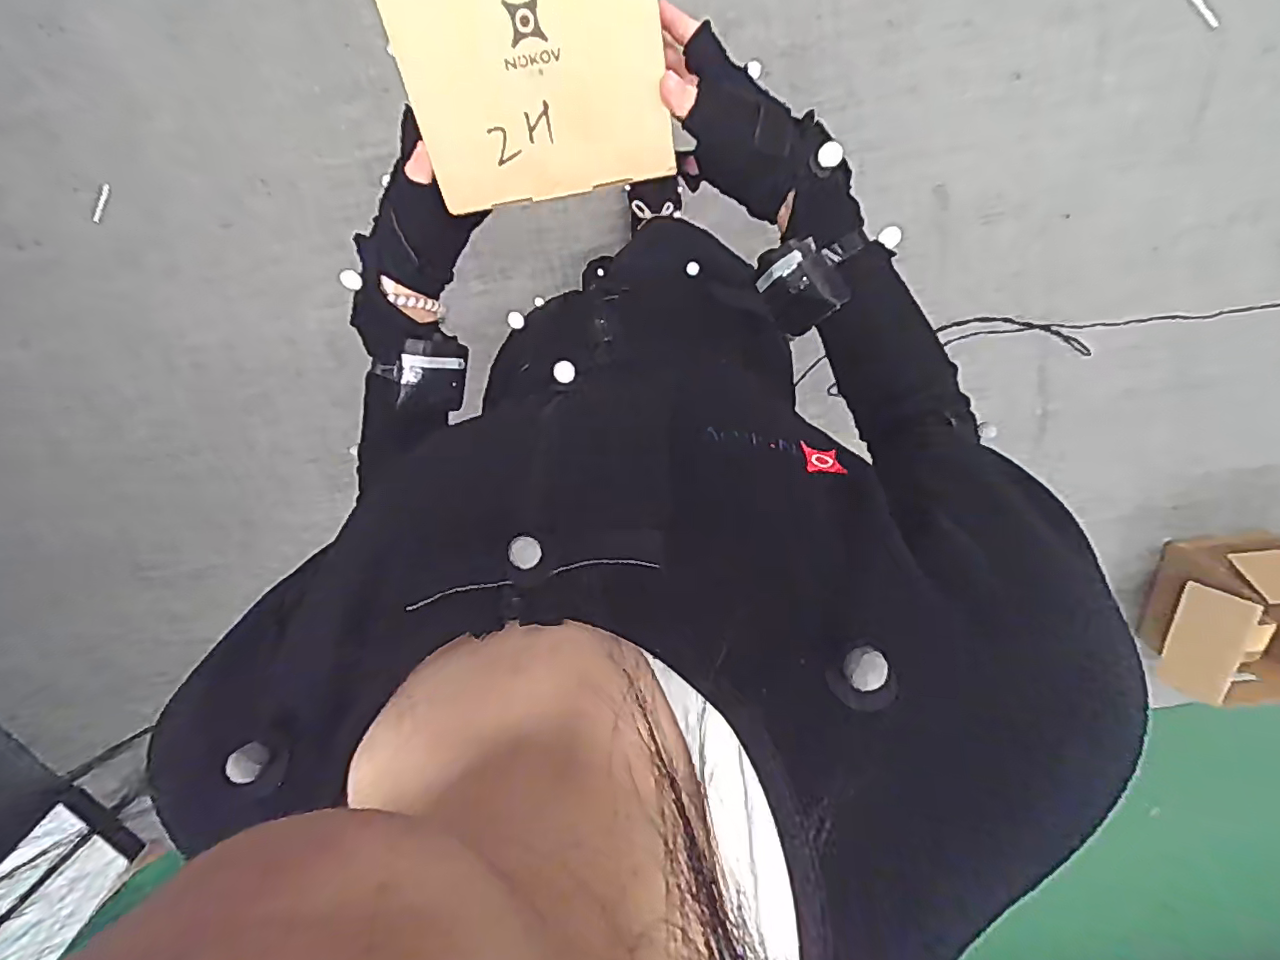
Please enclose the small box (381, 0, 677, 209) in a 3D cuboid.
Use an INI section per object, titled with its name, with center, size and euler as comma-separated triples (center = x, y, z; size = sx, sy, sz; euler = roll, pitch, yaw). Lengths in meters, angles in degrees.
[small box]
center = -0.071, -0.315, 0.388
size = 0.168, 0.176, 0.179
euler = -8, 127, 3
